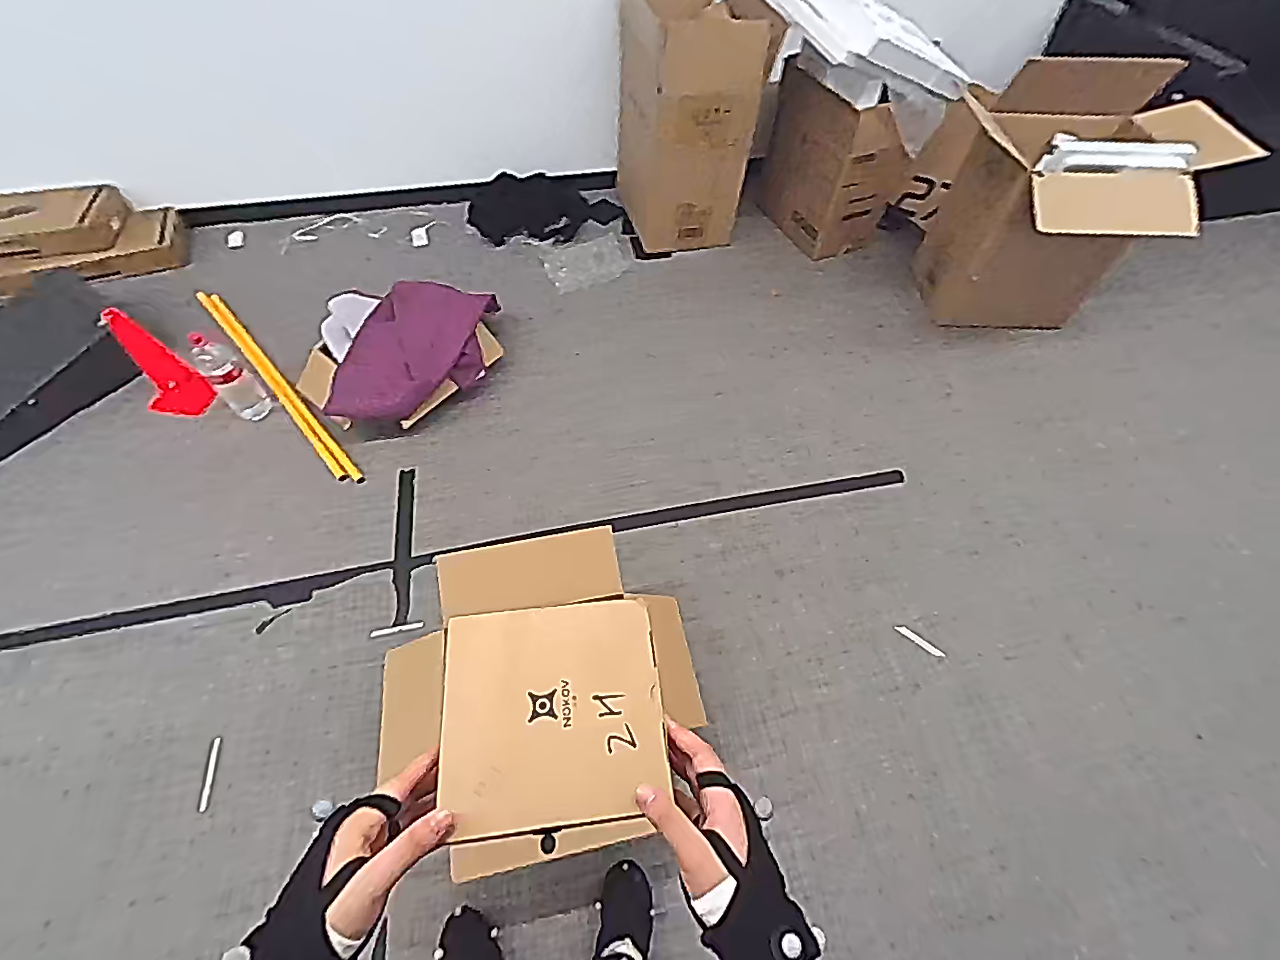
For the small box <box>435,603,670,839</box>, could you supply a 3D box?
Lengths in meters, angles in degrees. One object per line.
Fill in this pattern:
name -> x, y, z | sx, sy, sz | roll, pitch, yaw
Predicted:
small box -> -0.076, 0.229, 0.507 | 0.179, 0.176, 0.168 | -4, 58, -7
